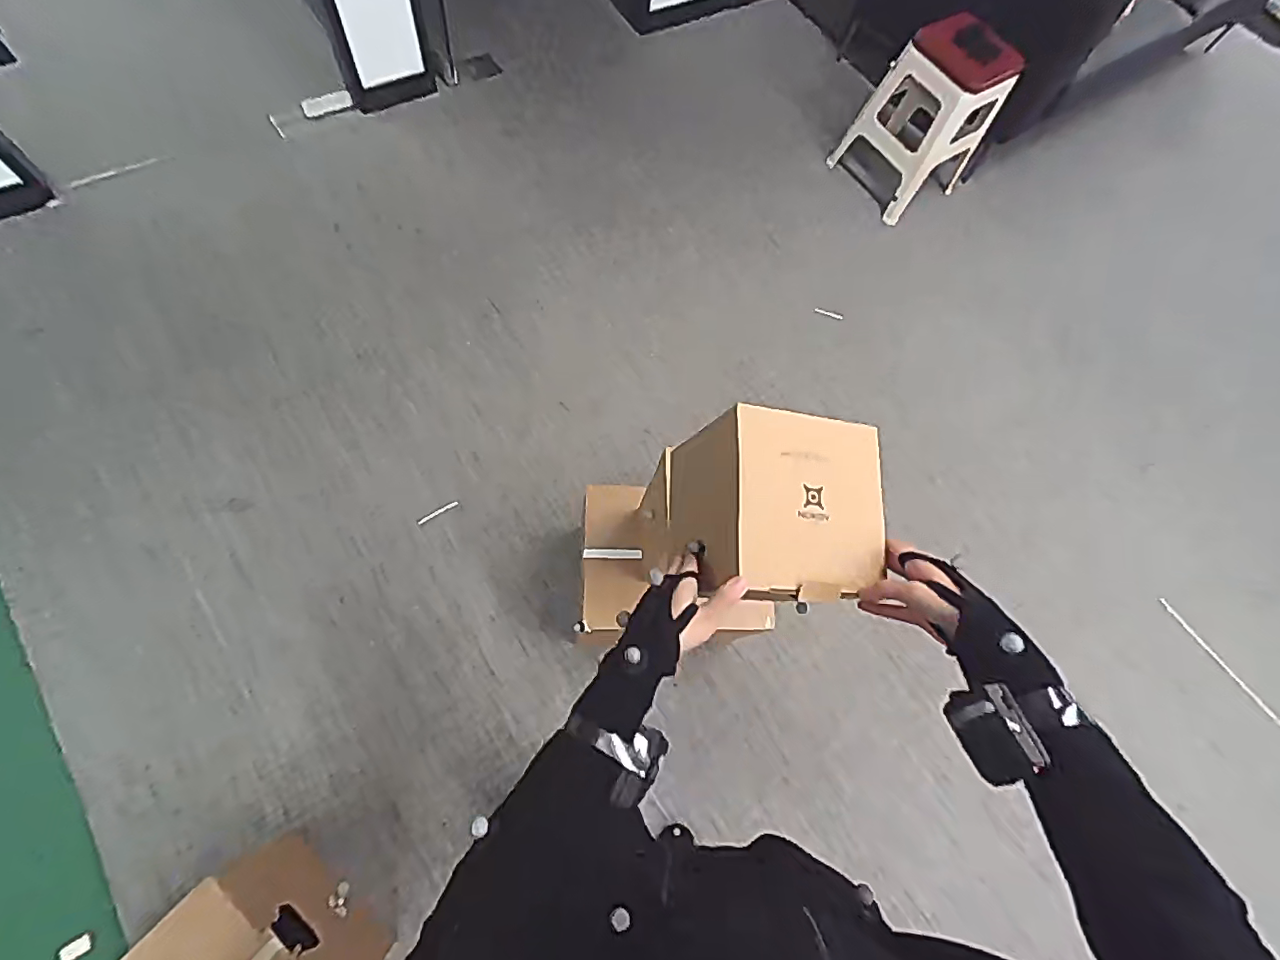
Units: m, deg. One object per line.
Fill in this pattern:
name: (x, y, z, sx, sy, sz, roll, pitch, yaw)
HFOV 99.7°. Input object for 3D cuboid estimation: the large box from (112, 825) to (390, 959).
large box: (-0.713, 0.889, 0.895, 0.320, 0.320, 0.408, 41, 70, 9)

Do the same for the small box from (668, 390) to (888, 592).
small box: (0.137, 0.027, 0.584, 0.168, 0.176, 0.179, 8, 74, -19)

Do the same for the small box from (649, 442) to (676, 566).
small box: (0.115, 0.050, 0.915, 0.179, 0.176, 0.168, 3, 68, -7)

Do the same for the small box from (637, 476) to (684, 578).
small box: (0.098, 0.096, 1.073, 0.179, 0.176, 0.168, 0, 68, -10)
